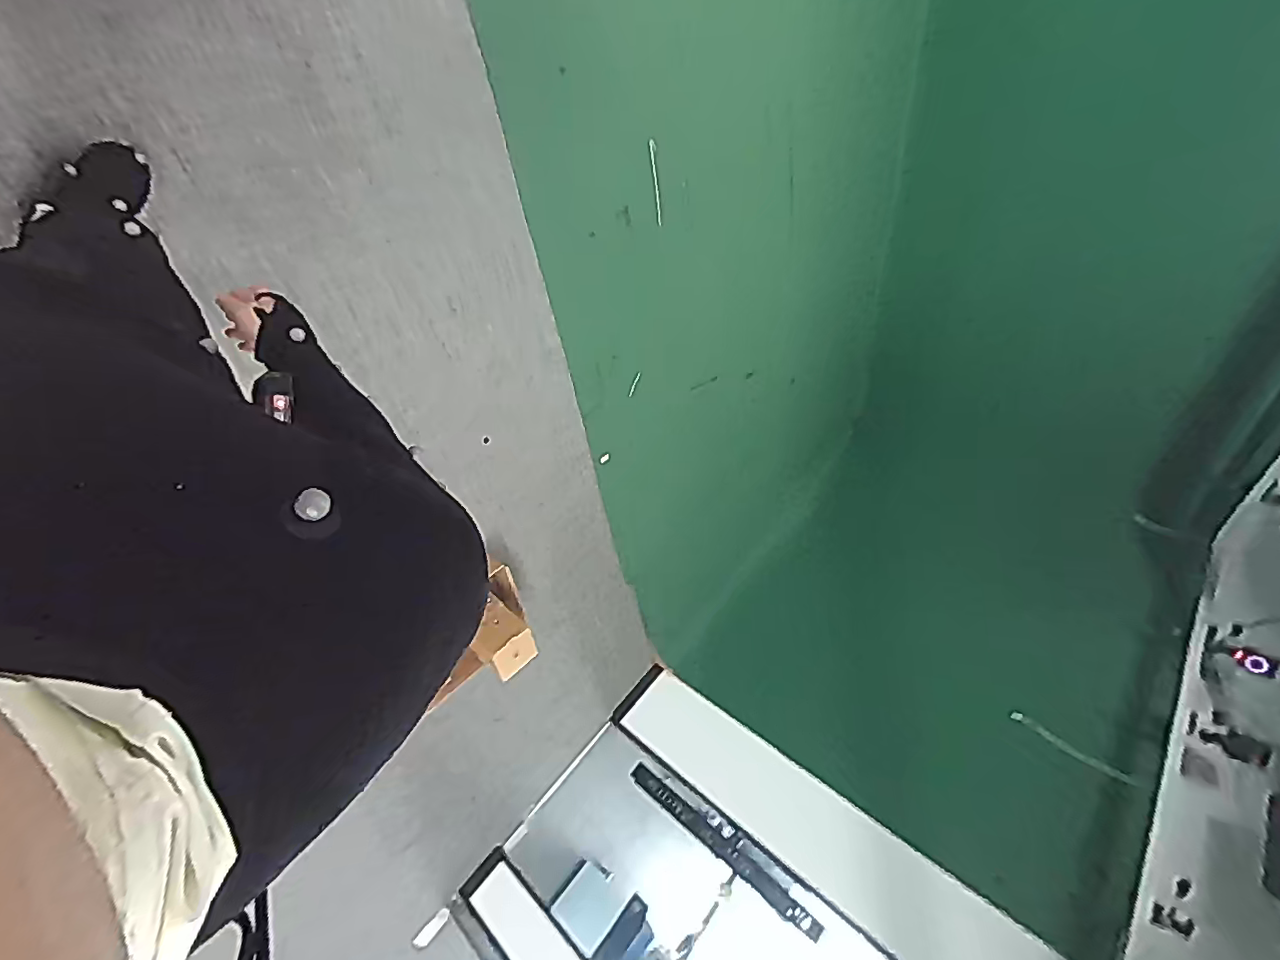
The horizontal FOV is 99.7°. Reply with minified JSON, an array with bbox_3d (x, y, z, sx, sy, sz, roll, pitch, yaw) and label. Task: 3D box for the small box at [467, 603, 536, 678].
[{"bbox_3d":[-0.519,0.597,2.032,0.168,0.176,0.179,-37,138,-32],"label":"small box"}]
